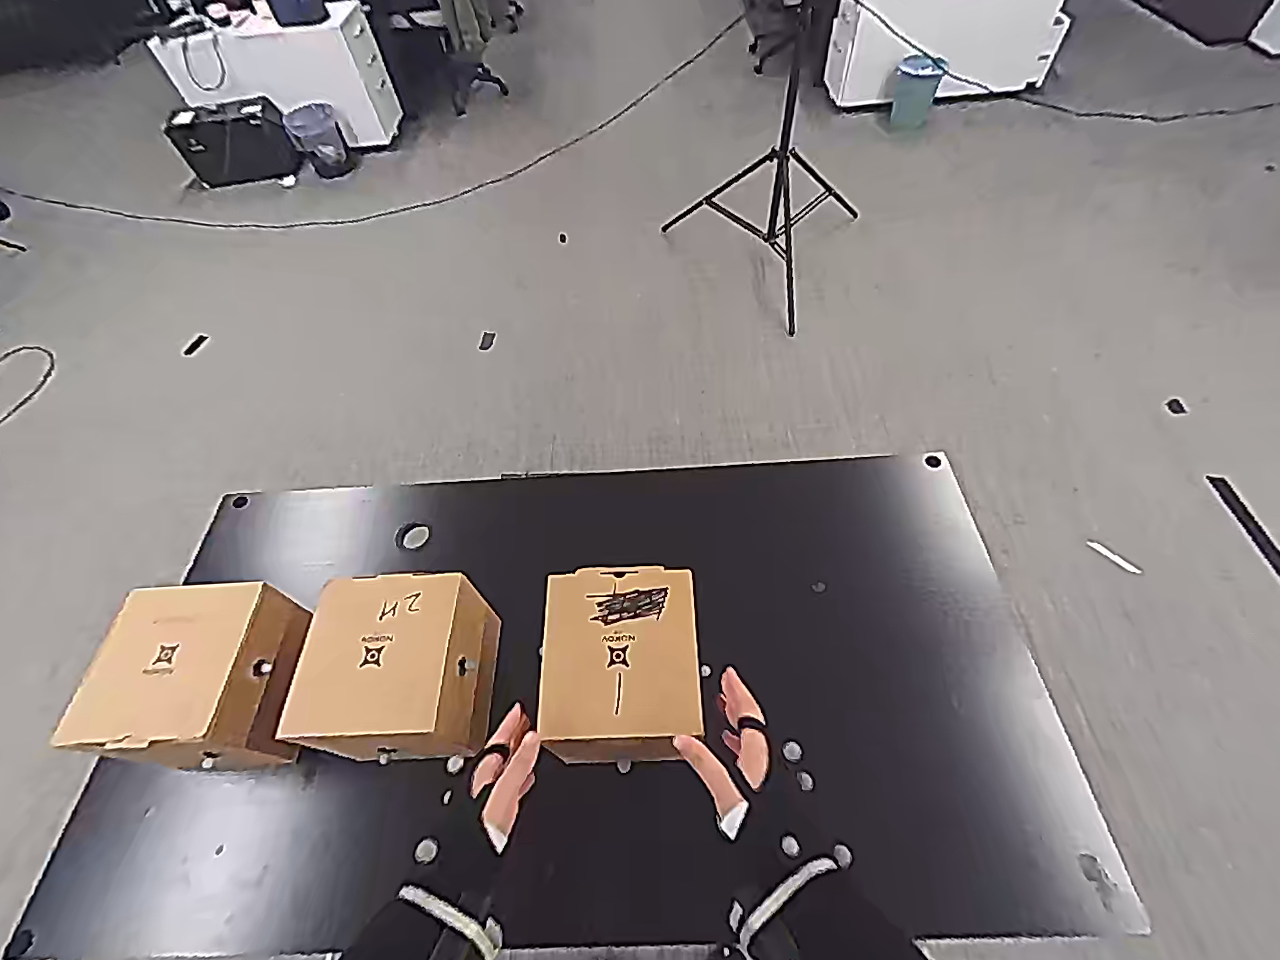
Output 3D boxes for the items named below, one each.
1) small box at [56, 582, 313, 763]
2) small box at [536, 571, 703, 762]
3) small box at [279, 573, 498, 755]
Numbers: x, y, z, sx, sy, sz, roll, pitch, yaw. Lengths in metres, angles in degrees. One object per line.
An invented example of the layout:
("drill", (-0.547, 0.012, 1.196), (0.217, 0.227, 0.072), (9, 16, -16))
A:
("small box", (-0.520, 0.243, 0.667), (0.168, 0.176, 0.179), (-3, 54, 0))
("small box", (-0.017, 0.223, 0.637), (0.168, 0.176, 0.179), (-3, 56, 3))
("small box", (-0.281, 0.229, 0.654), (0.168, 0.176, 0.179), (-3, 55, 2))
